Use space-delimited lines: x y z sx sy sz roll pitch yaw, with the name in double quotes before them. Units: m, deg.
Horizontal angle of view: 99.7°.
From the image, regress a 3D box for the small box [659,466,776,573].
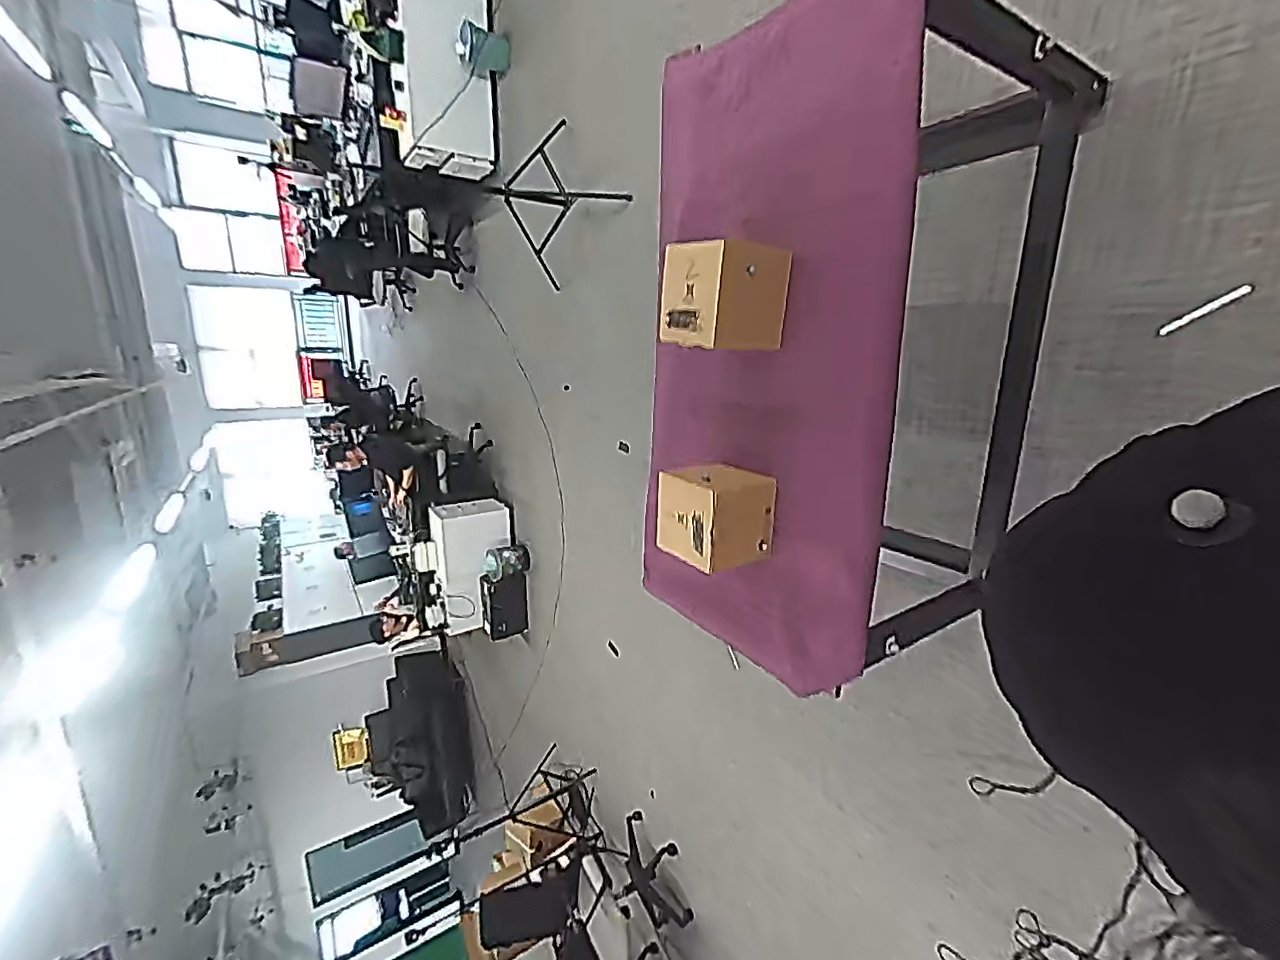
"small box" 0.157 0.071 1.111 0.179 0.176 0.168 22 115 54
